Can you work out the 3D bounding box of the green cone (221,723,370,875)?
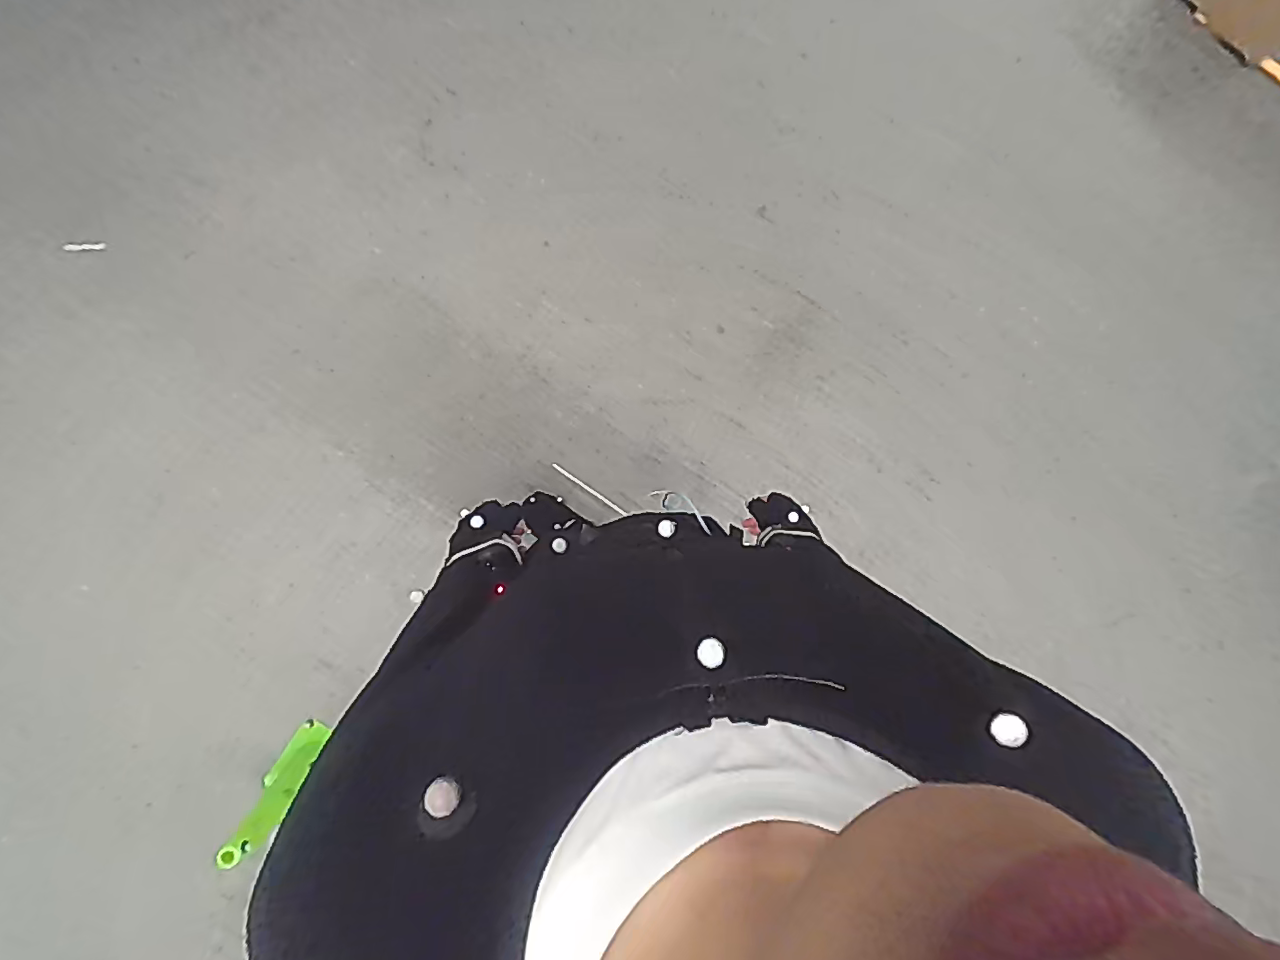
[{"bbox_3d":[-0.805,0.742,1.208,0.202,0.368,0.200,33,85,-4],"label":"green cone"}]
